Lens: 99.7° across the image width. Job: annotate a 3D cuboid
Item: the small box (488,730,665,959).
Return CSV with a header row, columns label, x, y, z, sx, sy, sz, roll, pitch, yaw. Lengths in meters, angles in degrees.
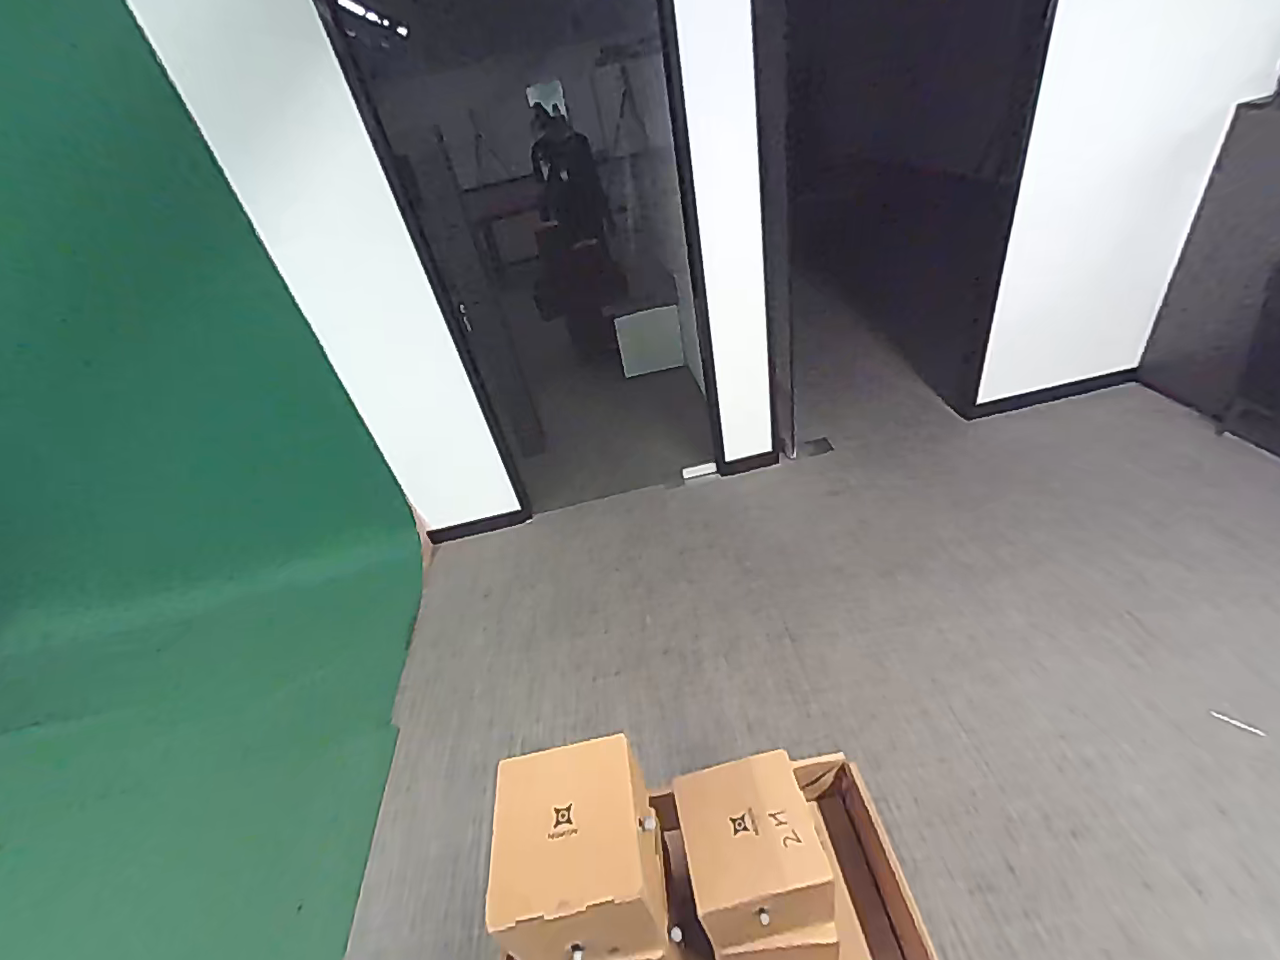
label,x,y,z,sx,sy,sz,roll,pitch,yaw
small box,-0.071,0.444,0.660,0.168,0.176,0.179,-13,36,0
